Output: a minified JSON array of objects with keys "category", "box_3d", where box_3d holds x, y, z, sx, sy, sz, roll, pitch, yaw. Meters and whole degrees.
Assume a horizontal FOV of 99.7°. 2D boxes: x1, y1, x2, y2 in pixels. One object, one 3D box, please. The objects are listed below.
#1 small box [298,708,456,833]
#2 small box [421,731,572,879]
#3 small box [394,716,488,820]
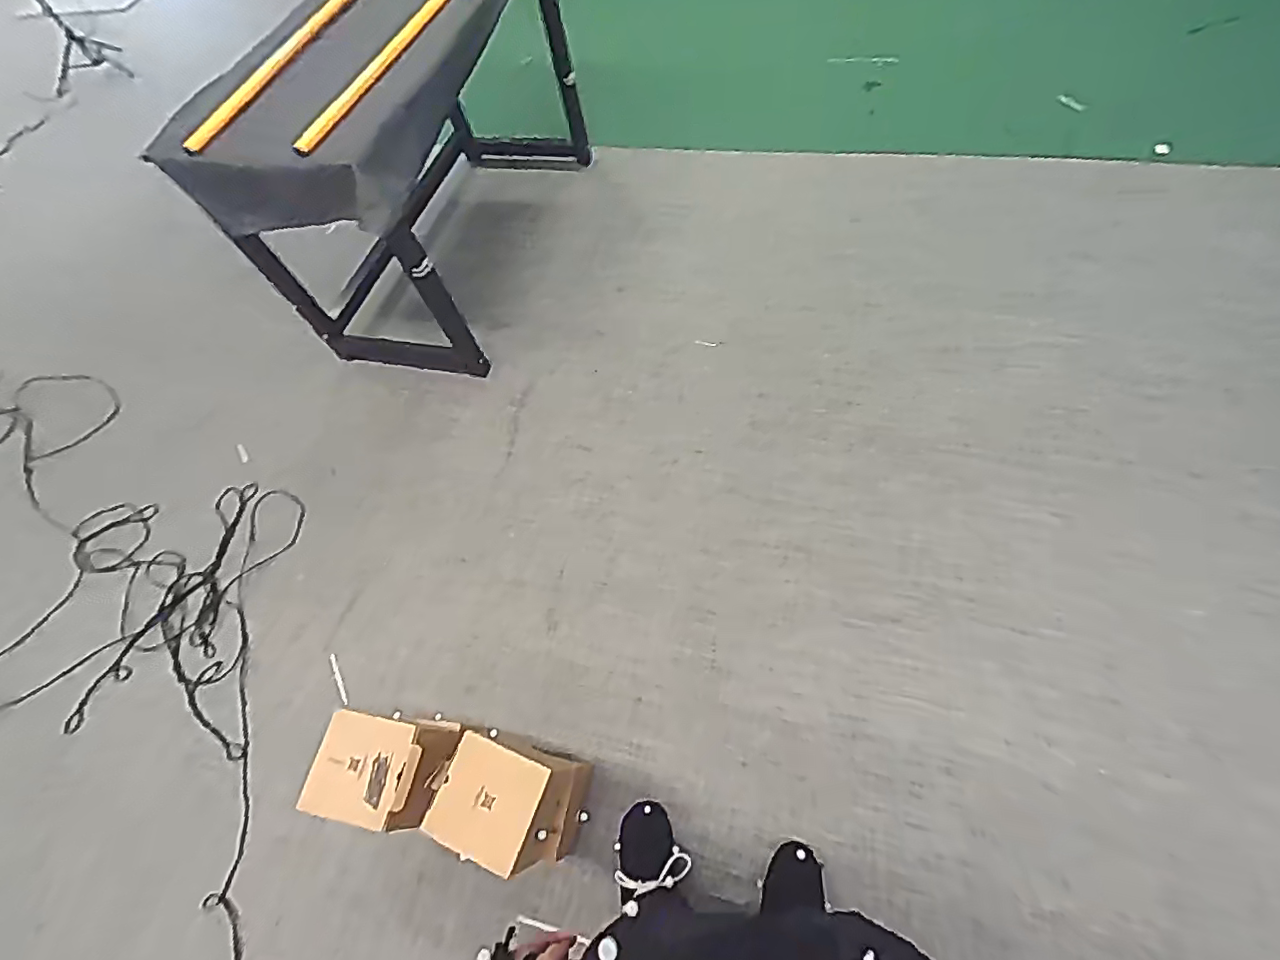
[{"category":"small box","box_3d":[-0.475,0.536,1.009,0.179,0.176,0.168,6,62,13]},{"category":"small box","box_3d":[-0.242,0.565,0.963,0.179,0.176,0.168,16,66,17]},{"category":"small box","box_3d":[-0.441,0.611,1.153,0.168,0.176,0.179,1,62,10]}]
